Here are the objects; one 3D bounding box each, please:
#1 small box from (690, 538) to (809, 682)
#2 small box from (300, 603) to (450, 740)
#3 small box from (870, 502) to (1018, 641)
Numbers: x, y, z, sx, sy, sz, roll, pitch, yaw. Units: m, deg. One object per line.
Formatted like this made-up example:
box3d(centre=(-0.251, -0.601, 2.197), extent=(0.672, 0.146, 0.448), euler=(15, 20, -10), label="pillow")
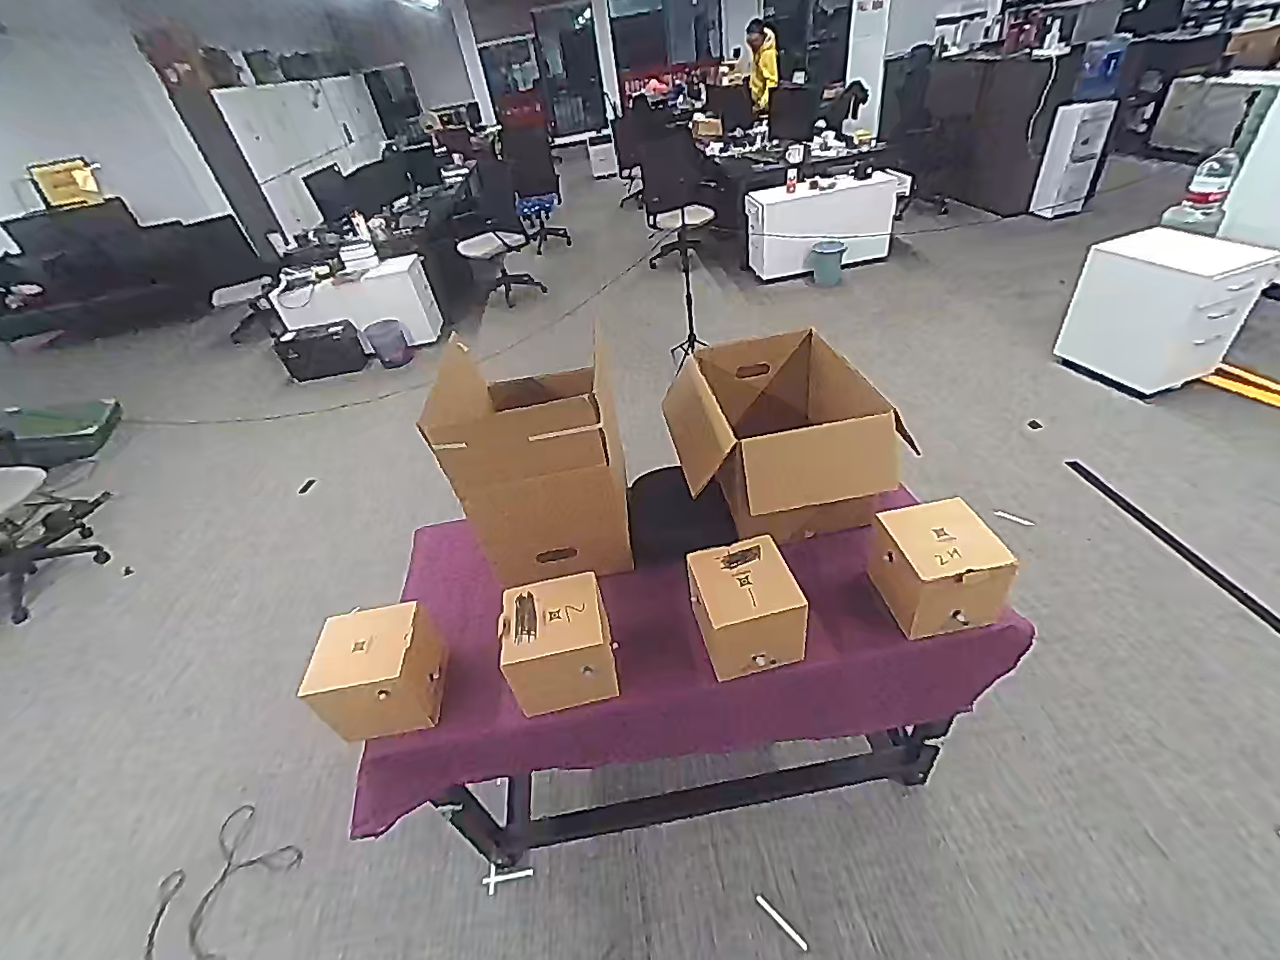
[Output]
box3d(centre=(0.196, 0.240, 1.002), extent=(0.168, 0.176, 0.179), euler=(-13, 39, -3), label="small box")
box3d(centre=(-0.478, 0.359, 1.006), extent=(0.179, 0.176, 0.168), euler=(-10, 38, -2), label="small box")
box3d(centre=(0.548, 0.170, 1.007), extent=(0.168, 0.176, 0.179), euler=(-11, 38, 1), label="small box")
